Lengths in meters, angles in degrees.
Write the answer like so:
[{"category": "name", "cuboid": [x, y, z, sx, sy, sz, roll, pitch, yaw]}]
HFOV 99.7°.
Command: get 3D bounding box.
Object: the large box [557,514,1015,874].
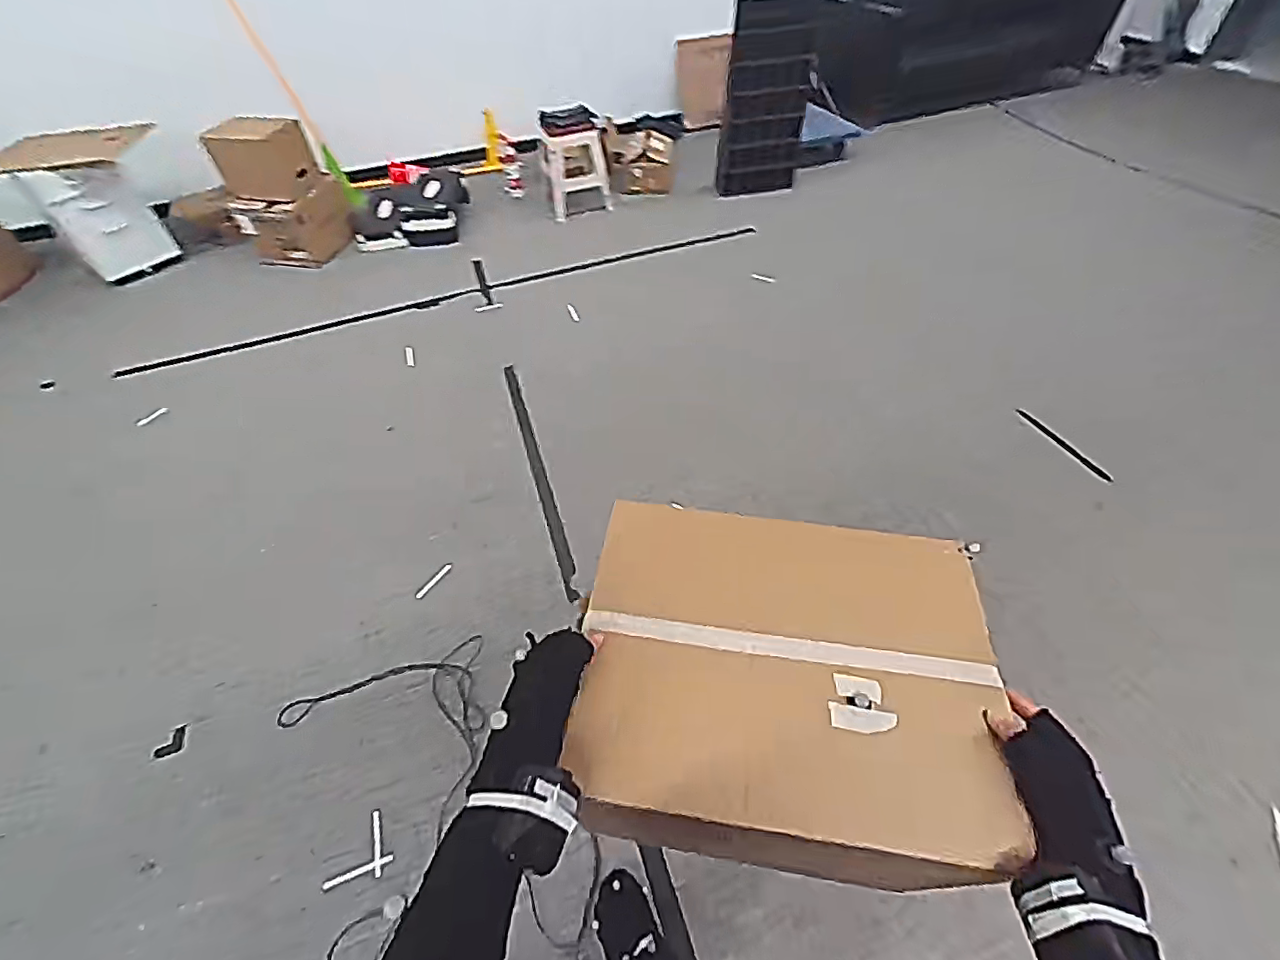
[{"category": "large box", "cuboid": [0.137, 0.269, 0.675, 0.408, 0.320, 0.320, 6, 52, 5]}]
